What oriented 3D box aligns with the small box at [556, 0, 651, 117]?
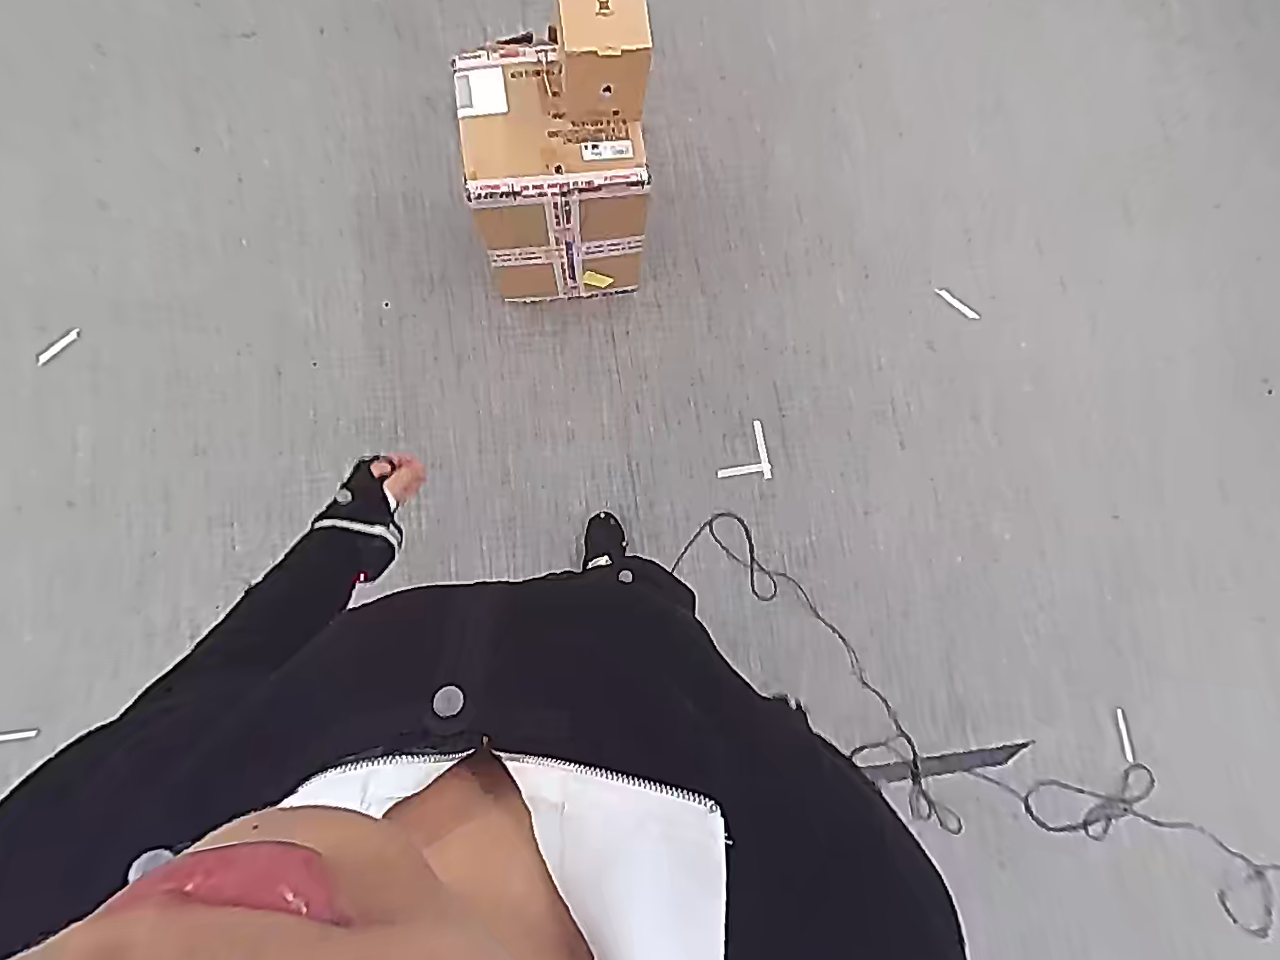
[{"bbox_3d":[-0.077,-0.861,1.081,0.168,0.176,0.179,-7,85,-7],"label":"small box"}]
